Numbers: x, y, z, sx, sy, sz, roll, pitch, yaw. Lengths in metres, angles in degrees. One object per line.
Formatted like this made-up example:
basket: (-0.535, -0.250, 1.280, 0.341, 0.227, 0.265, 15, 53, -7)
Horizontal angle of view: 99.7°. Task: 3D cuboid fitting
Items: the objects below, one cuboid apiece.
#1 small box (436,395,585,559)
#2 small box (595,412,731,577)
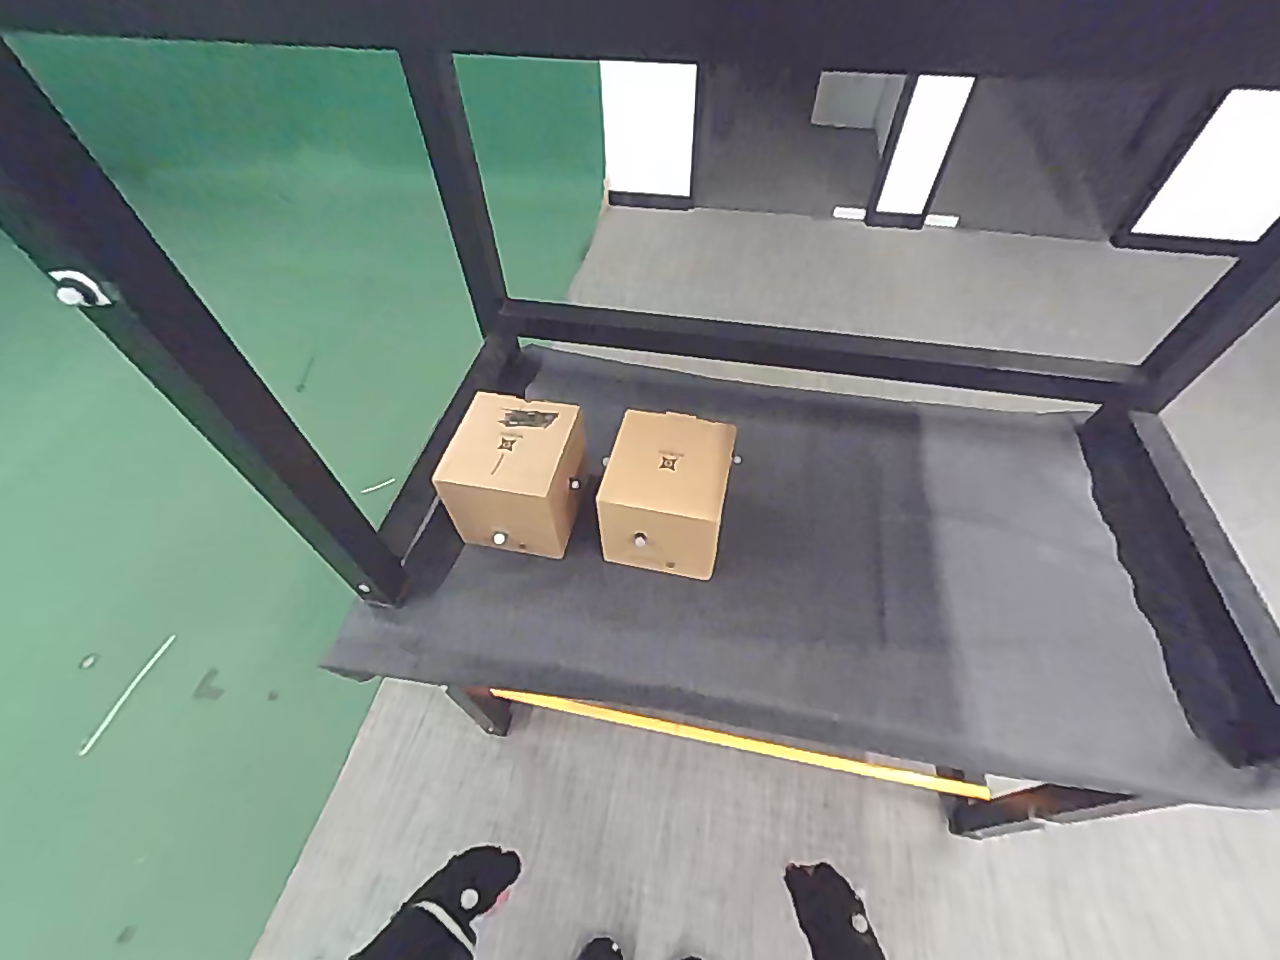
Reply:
small box: (-0.186, -0.004, 0.843, 0.168, 0.176, 0.179, 9, 53, 7)
small box: (0.039, 0.026, 0.820, 0.168, 0.176, 0.179, 10, 52, 8)
